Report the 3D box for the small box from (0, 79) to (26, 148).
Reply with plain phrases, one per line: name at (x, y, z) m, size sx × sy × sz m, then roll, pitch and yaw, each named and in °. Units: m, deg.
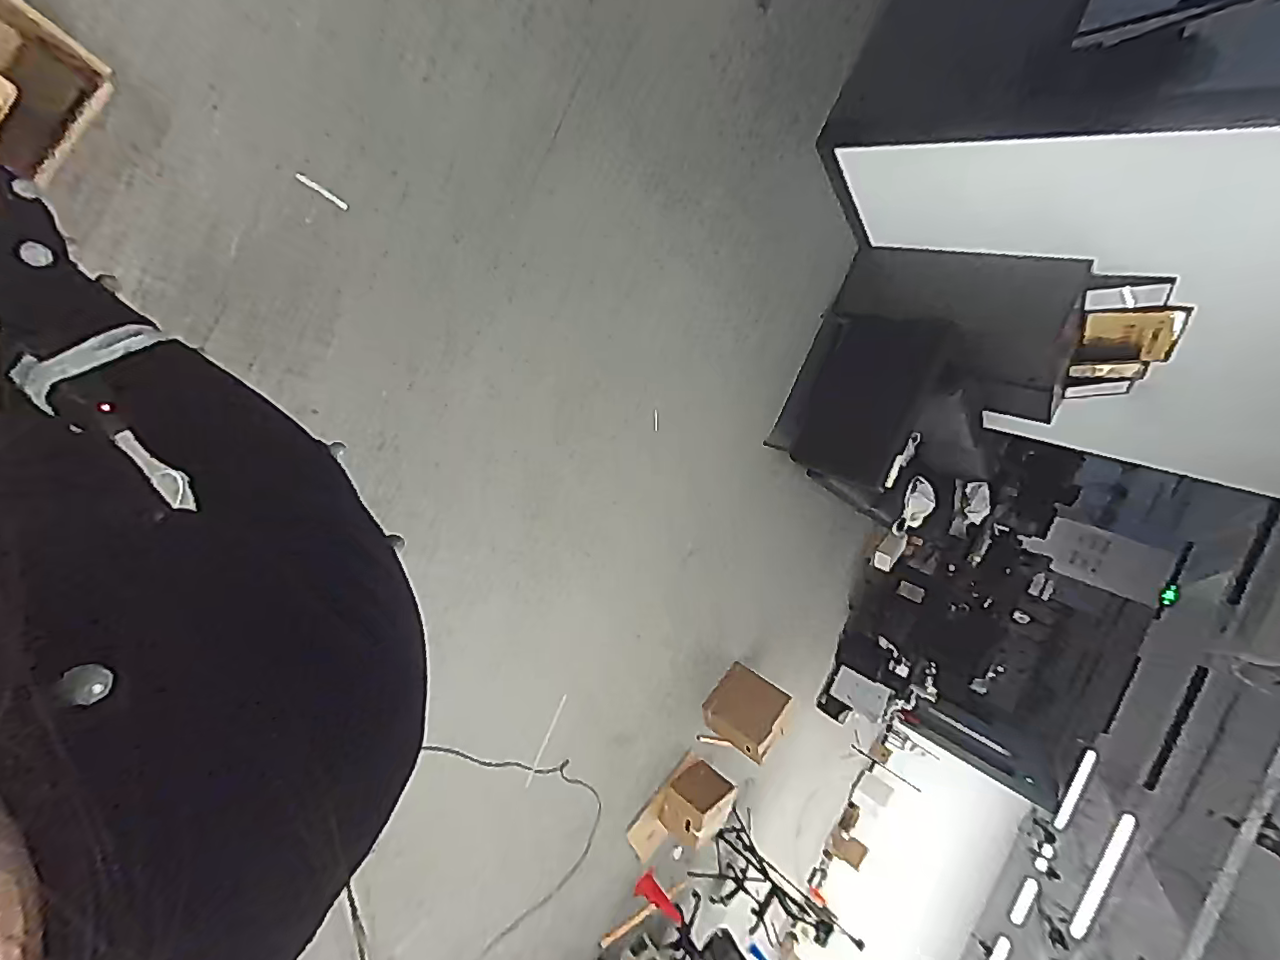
small box at (-0.872, -0.447, 0.623) m, size 0.179 × 0.176 × 0.168 m, roll 33°, pitch 84°, yaw -50°
